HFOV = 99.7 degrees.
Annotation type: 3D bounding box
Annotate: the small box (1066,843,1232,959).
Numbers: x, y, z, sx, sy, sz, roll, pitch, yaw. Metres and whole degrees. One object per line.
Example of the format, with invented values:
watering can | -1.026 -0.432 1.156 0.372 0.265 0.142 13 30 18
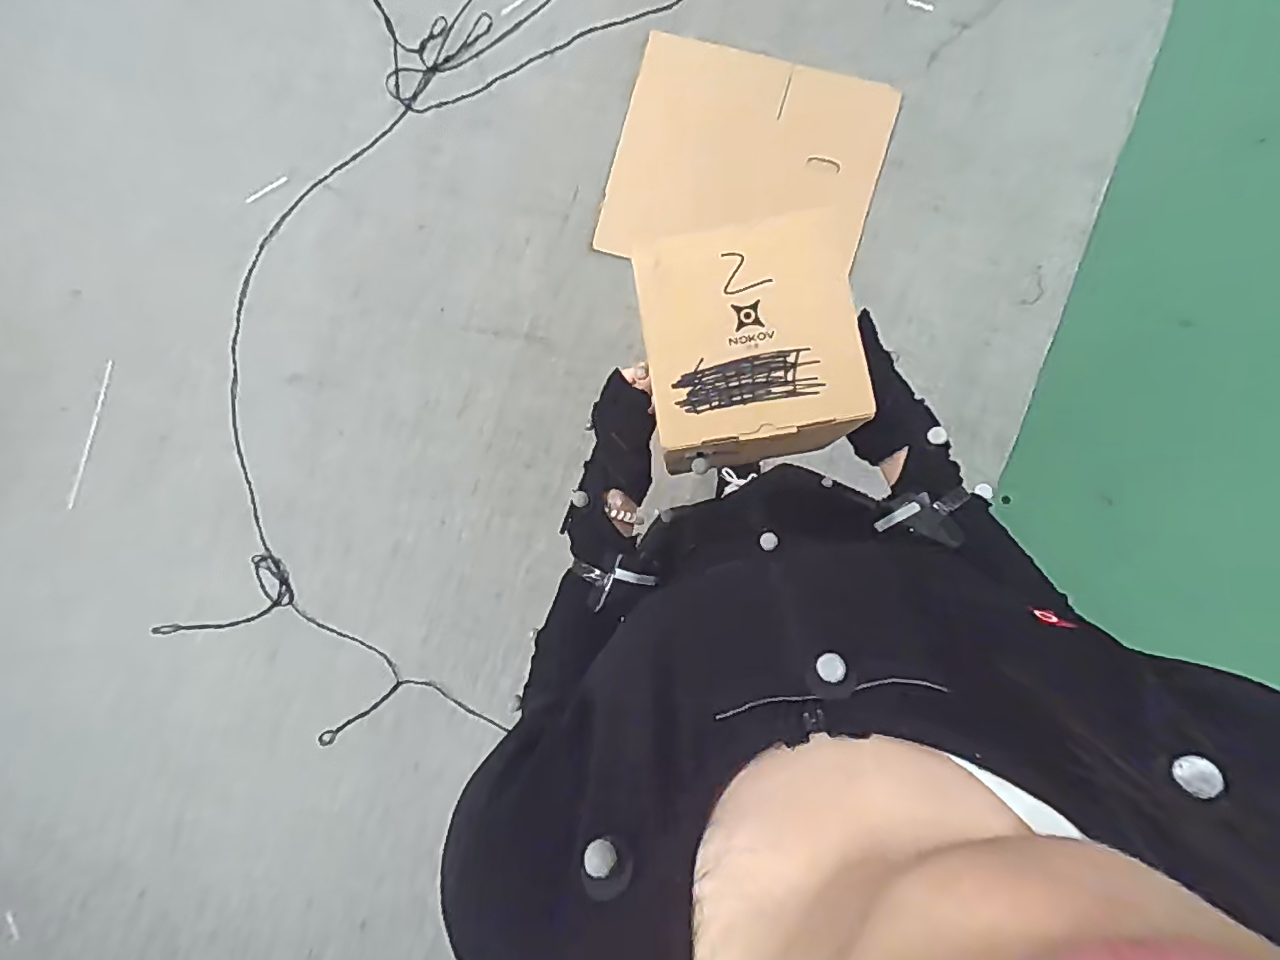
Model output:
small box | 1.094 0.940 1.178 0.179 0.176 0.168 16 93 5
